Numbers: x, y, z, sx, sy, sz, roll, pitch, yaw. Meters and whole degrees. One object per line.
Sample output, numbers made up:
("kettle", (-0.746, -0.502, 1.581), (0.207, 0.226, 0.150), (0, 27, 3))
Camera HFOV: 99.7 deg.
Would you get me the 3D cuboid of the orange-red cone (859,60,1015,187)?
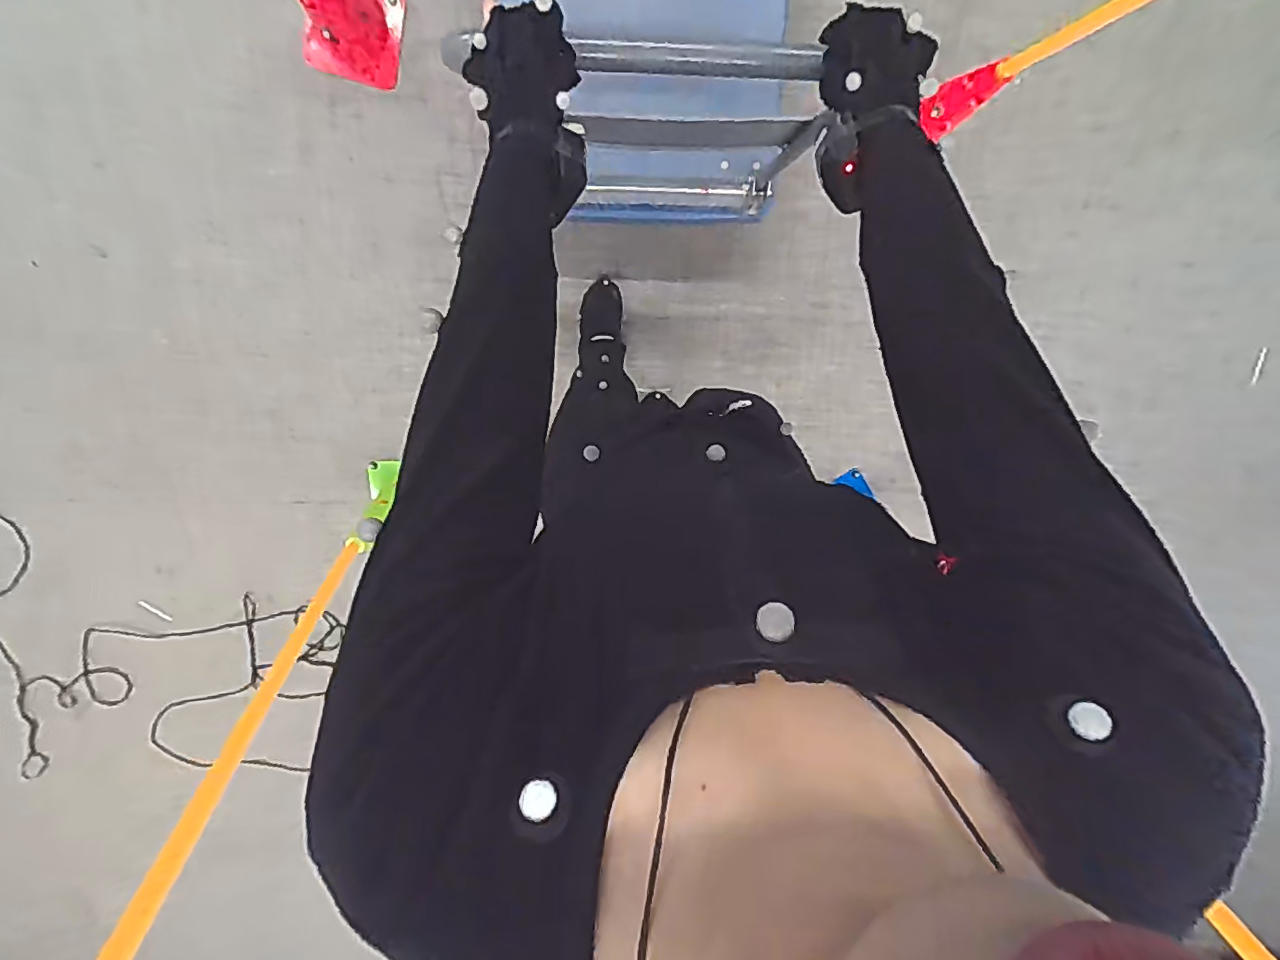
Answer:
("orange-red cone", (0.655, -0.787, 1.146), (0.198, 0.360, 0.199), (12, 106, -6))
